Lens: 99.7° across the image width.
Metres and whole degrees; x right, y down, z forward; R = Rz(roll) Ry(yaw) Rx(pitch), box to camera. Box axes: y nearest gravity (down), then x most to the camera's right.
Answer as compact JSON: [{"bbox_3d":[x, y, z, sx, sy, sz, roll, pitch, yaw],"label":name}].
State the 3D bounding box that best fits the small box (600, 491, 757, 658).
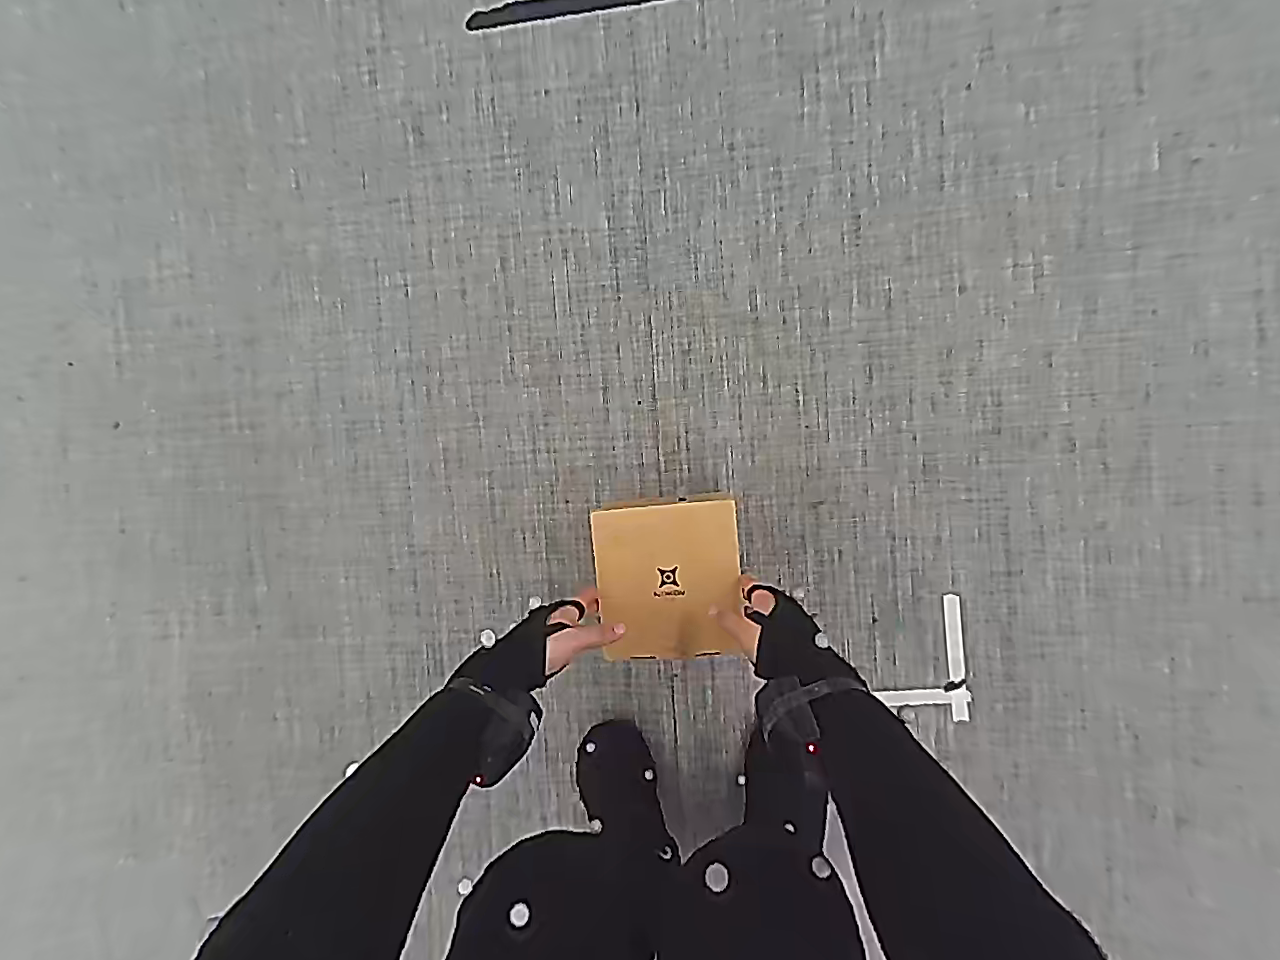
[{"bbox_3d":[0.047,0.107,0.687,0.168,0.176,0.179,-6,92,5],"label":"small box"}]
